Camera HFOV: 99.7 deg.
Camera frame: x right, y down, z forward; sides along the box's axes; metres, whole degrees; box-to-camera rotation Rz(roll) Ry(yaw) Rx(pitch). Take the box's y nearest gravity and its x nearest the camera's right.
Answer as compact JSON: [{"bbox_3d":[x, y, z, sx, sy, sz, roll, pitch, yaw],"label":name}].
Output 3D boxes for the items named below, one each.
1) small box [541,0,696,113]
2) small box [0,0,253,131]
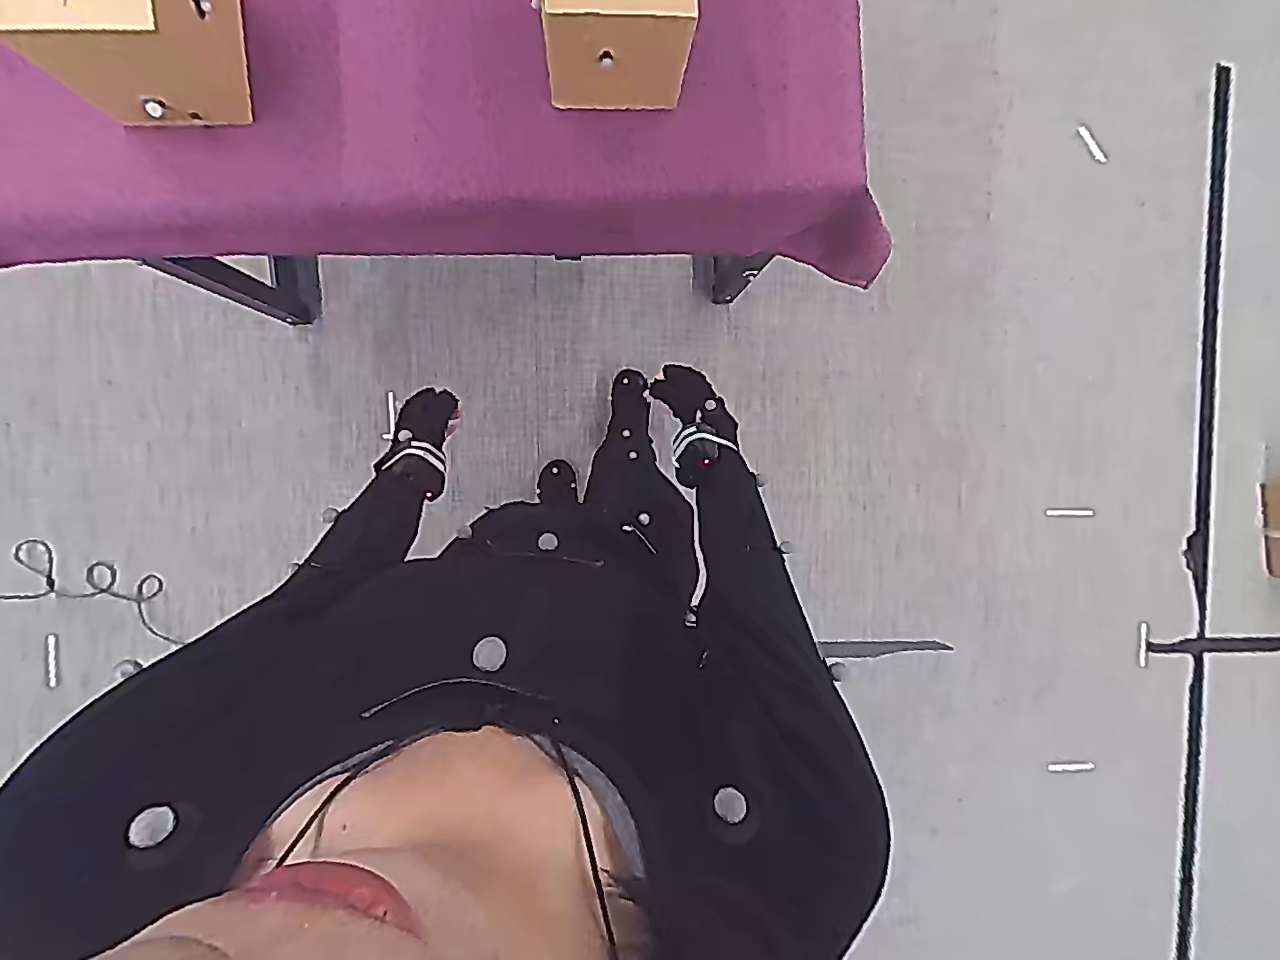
[{"bbox_3d":[-0.030,-0.596,0.682,0.179,0.176,0.168,-3,93,-4],"label":"small box"},{"bbox_3d":[-0.591,-0.547,0.631,0.168,0.176,0.179,-4,94,-5],"label":"small box"}]
